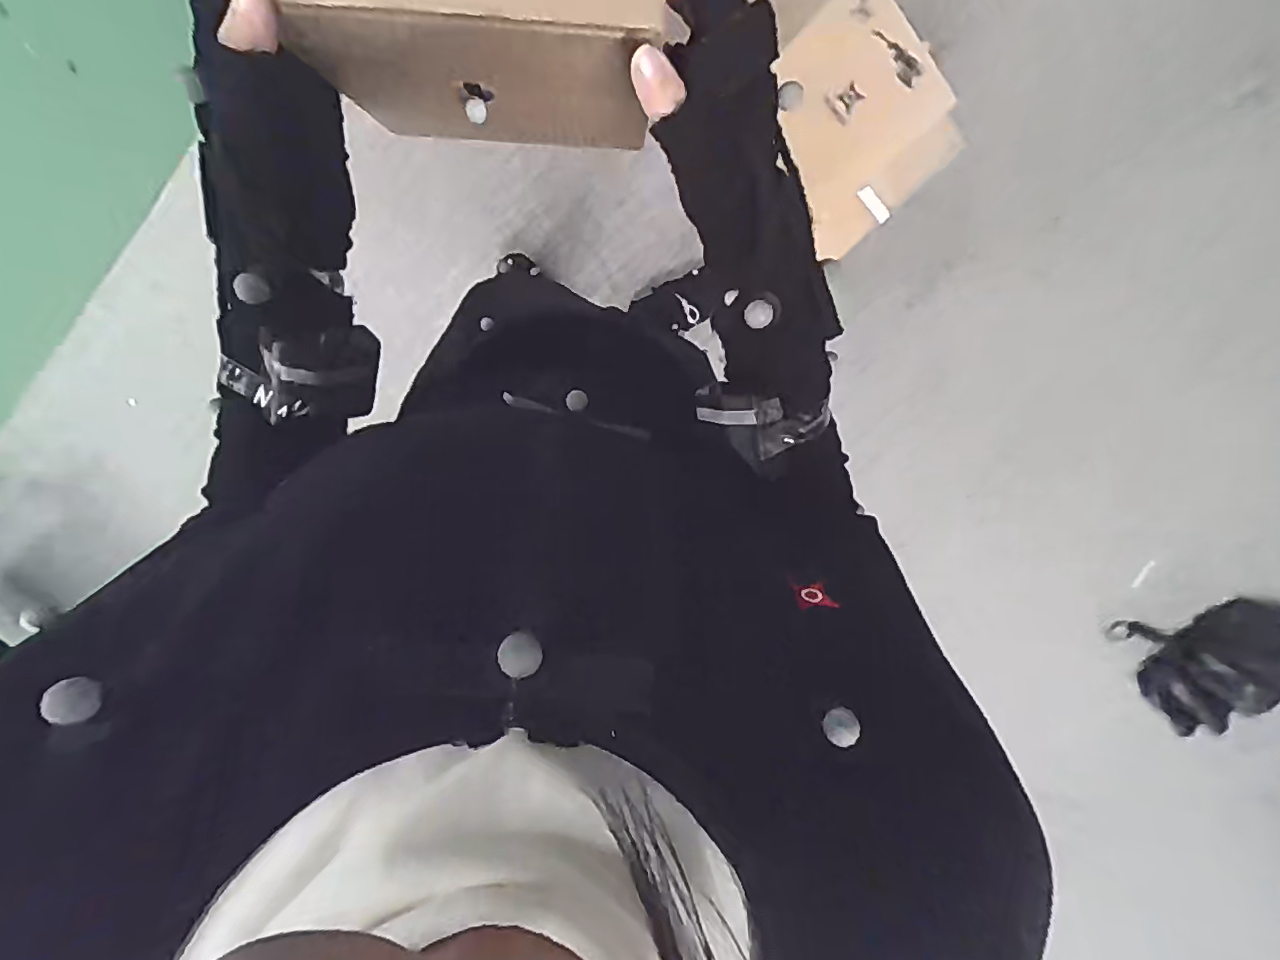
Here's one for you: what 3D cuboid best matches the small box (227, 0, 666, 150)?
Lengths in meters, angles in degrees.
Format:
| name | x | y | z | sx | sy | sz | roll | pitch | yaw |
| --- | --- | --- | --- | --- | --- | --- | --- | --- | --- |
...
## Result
| name | x | y | z | sx | sy | sz | roll | pitch | yaw |
| --- | --- | --- | --- | --- | --- | --- | --- | --- | --- |
| small box | -0.083 | -0.282 | 0.272 | 0.179 | 0.176 | 0.168 | -2 | 107 | -2 |

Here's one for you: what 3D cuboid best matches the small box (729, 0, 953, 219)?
| name | x | y | z | sx | sy | sz | roll | pitch | yaw |
| --- | --- | --- | --- | --- | --- | --- | --- | --- | --- |
| small box | 0.227 | -0.443 | 0.652 | 0.179 | 0.176 | 0.168 | -38 | 105 | 23 |
